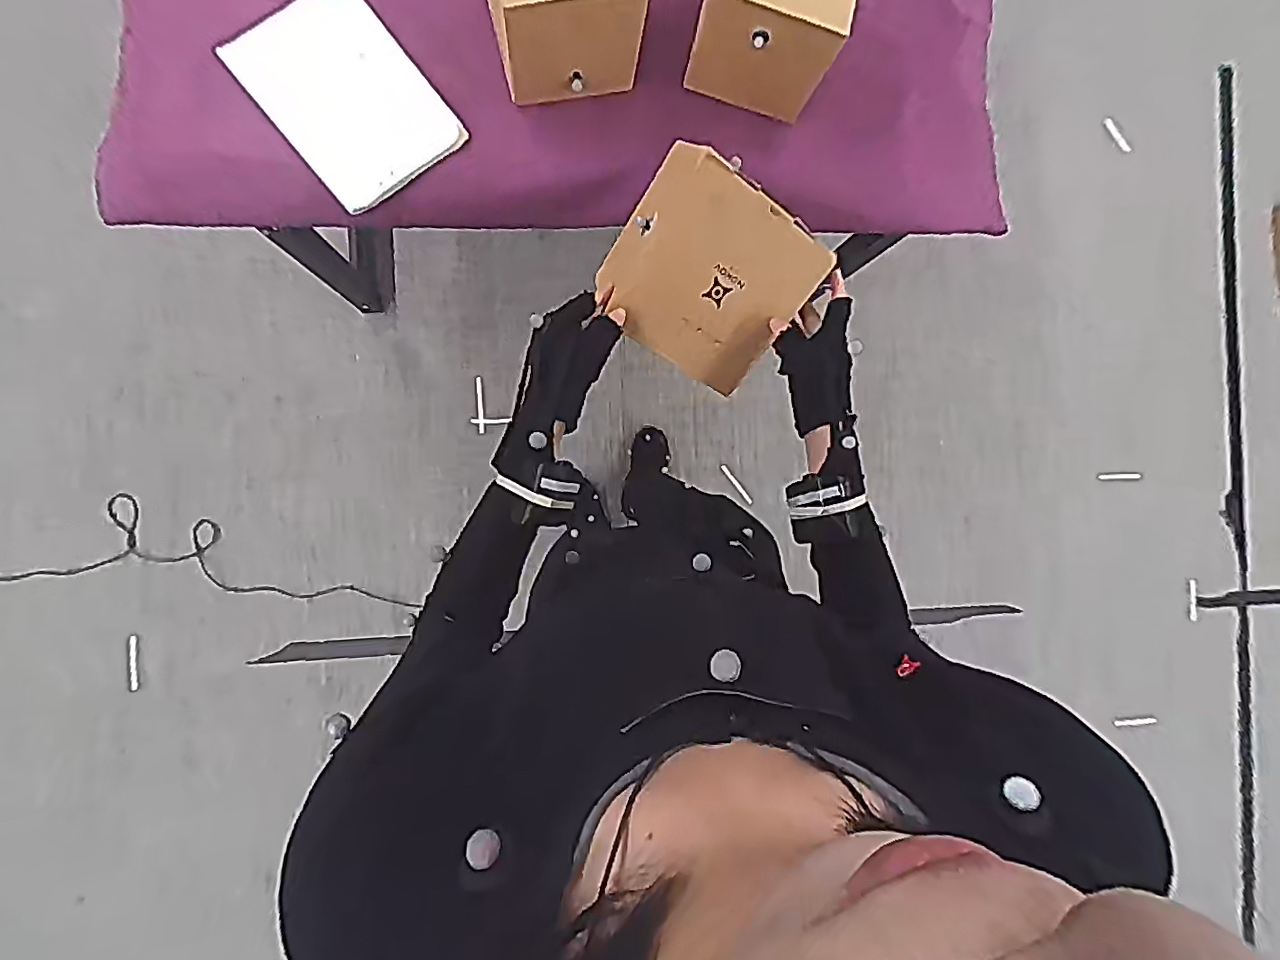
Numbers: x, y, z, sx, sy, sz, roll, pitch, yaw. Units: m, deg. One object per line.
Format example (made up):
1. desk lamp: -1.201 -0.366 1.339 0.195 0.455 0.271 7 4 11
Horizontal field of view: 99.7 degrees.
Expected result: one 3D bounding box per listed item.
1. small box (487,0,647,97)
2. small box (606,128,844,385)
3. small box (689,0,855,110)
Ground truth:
1. small box: -0.102 -0.630 0.685 0.179 0.176 0.168 -15 92 -8
2. small box: 0.072 -0.239 0.578 0.168 0.176 0.179 27 116 -21
3. small box: 0.176 -0.641 0.720 0.179 0.176 0.168 13 88 -8
